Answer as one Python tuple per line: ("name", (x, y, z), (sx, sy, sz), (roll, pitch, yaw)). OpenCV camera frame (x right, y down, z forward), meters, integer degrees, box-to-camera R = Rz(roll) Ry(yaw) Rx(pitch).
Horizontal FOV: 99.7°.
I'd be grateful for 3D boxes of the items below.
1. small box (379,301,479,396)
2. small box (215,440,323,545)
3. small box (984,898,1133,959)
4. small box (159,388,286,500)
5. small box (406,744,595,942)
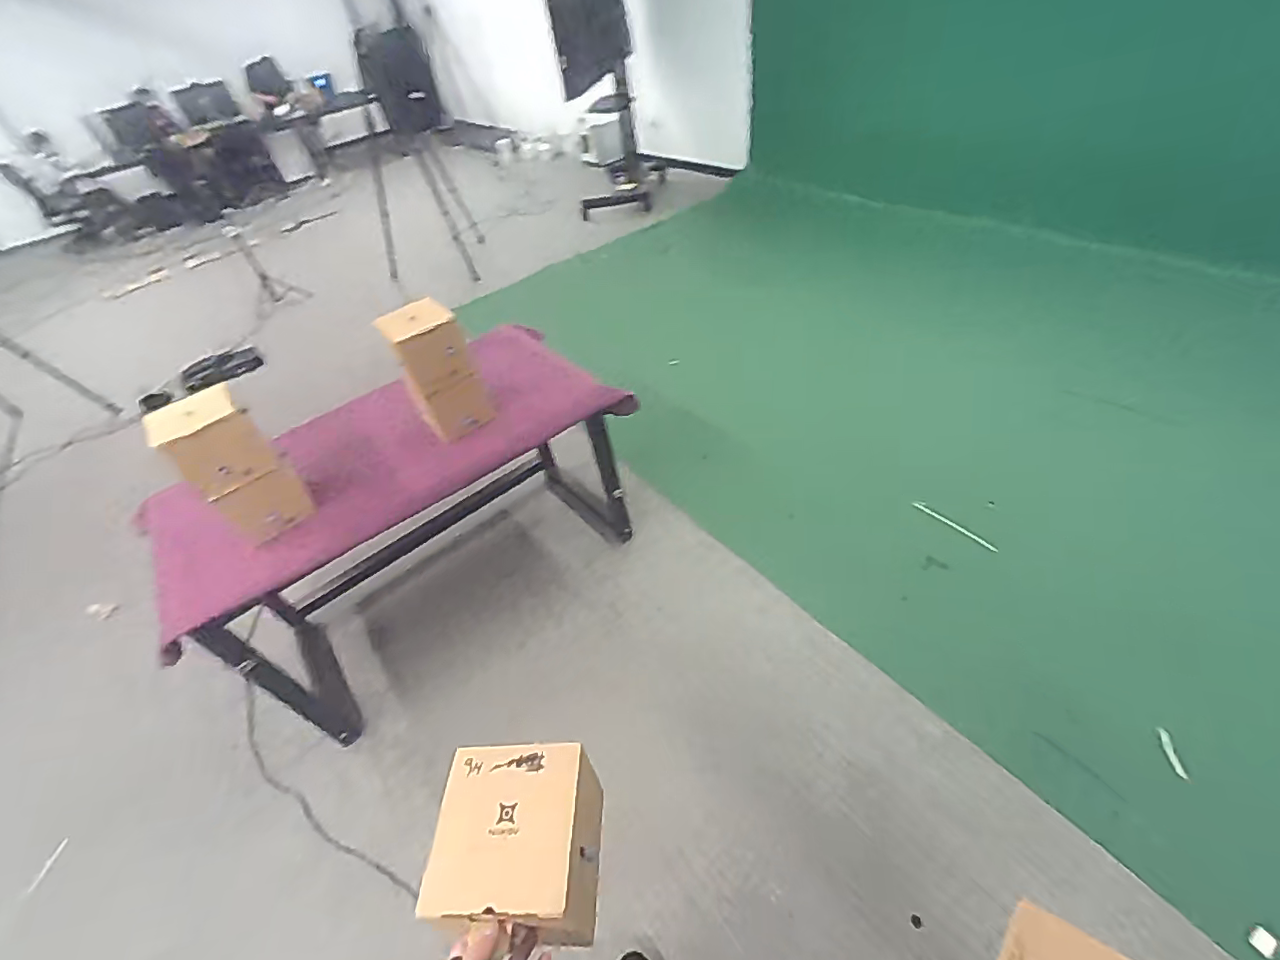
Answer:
("small box", (-0.558, -0.347, 1.449), (0.168, 0.176, 0.179), (-34, 48, -21))
("small box", (-0.949, 0.034, 1.378), (0.168, 0.176, 0.179), (-34, 48, -21))
("small box", (0.506, 0.609, 0.585), (0.179, 0.176, 0.168), (38, 70, -7))
("small box", (-0.974, -0.083, 1.267), (0.168, 0.176, 0.179), (-34, 49, -23))
("small box", (-0.155, 0.456, 0.676), (0.168, 0.176, 0.179), (-6, 42, 6))
